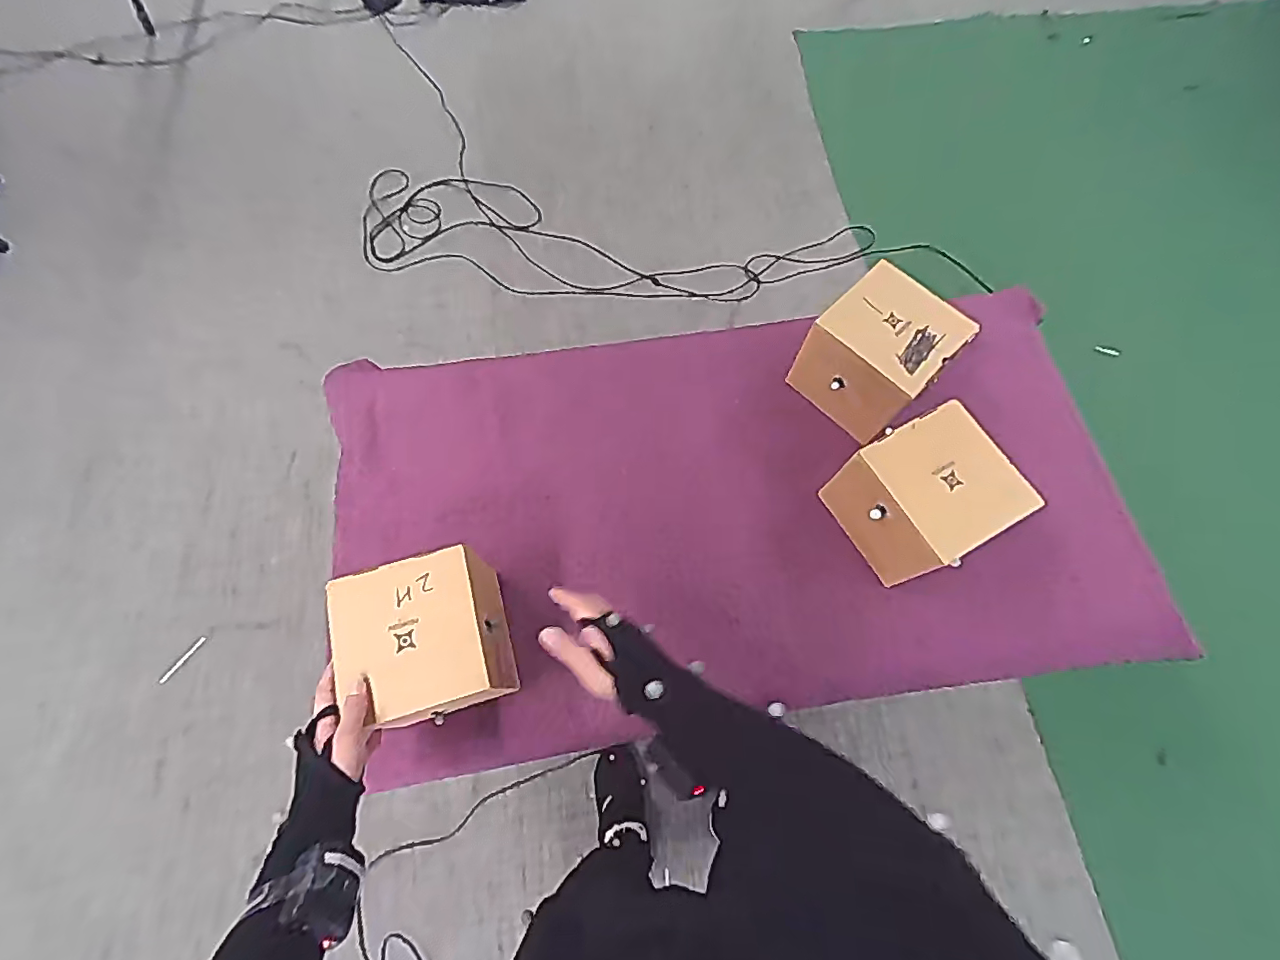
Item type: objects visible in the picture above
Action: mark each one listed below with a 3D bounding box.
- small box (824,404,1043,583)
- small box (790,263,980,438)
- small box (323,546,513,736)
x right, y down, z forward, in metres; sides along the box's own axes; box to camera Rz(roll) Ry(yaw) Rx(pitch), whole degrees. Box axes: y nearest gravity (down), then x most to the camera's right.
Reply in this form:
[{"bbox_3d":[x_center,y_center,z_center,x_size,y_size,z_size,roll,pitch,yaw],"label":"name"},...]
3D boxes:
[{"bbox_3d":[0.393,0.031,0.760,0.168,0.176,0.179,-27,71,-10],"label":"small box"},{"bbox_3d":[0.365,-0.187,0.839,0.168,0.176,0.179,-41,75,-14],"label":"small box"},{"bbox_3d":[-0.269,0.202,0.684,0.168,0.176,0.179,-14,70,-7],"label":"small box"}]
